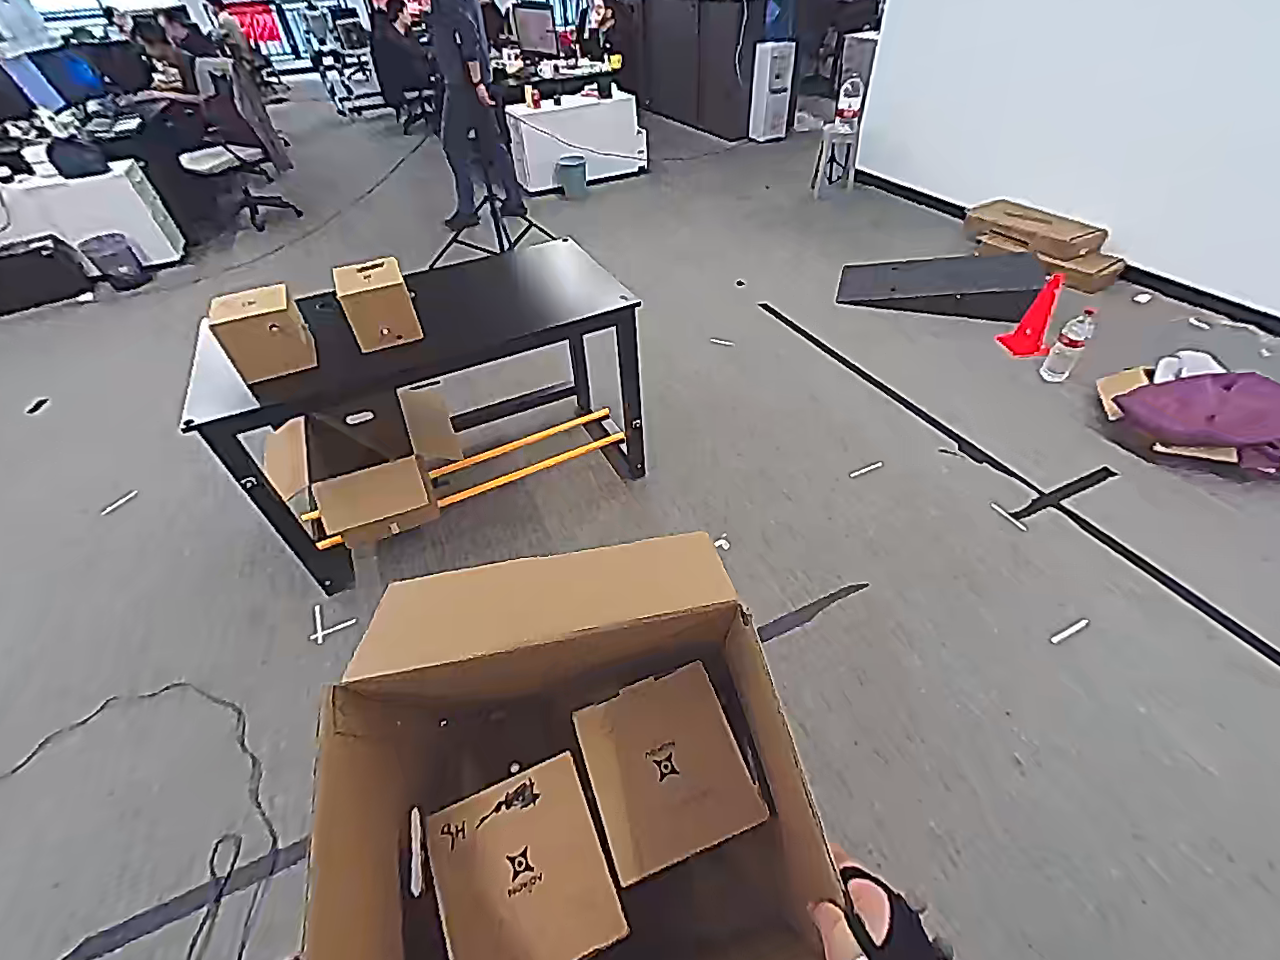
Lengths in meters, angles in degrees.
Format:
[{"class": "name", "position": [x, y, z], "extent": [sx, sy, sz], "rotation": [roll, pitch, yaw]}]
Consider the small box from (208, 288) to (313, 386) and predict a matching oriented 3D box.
[{"class": "small box", "position": [-0.974, -0.371, 1.406], "extent": [0.179, 0.176, 0.168], "rotation": [-21, 46, -18]}]

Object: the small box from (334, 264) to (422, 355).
[{"class": "small box", "position": [-0.723, -0.472, 1.496], "extent": [0.168, 0.176, 0.179], "rotation": [-20, 47, -16]}]
